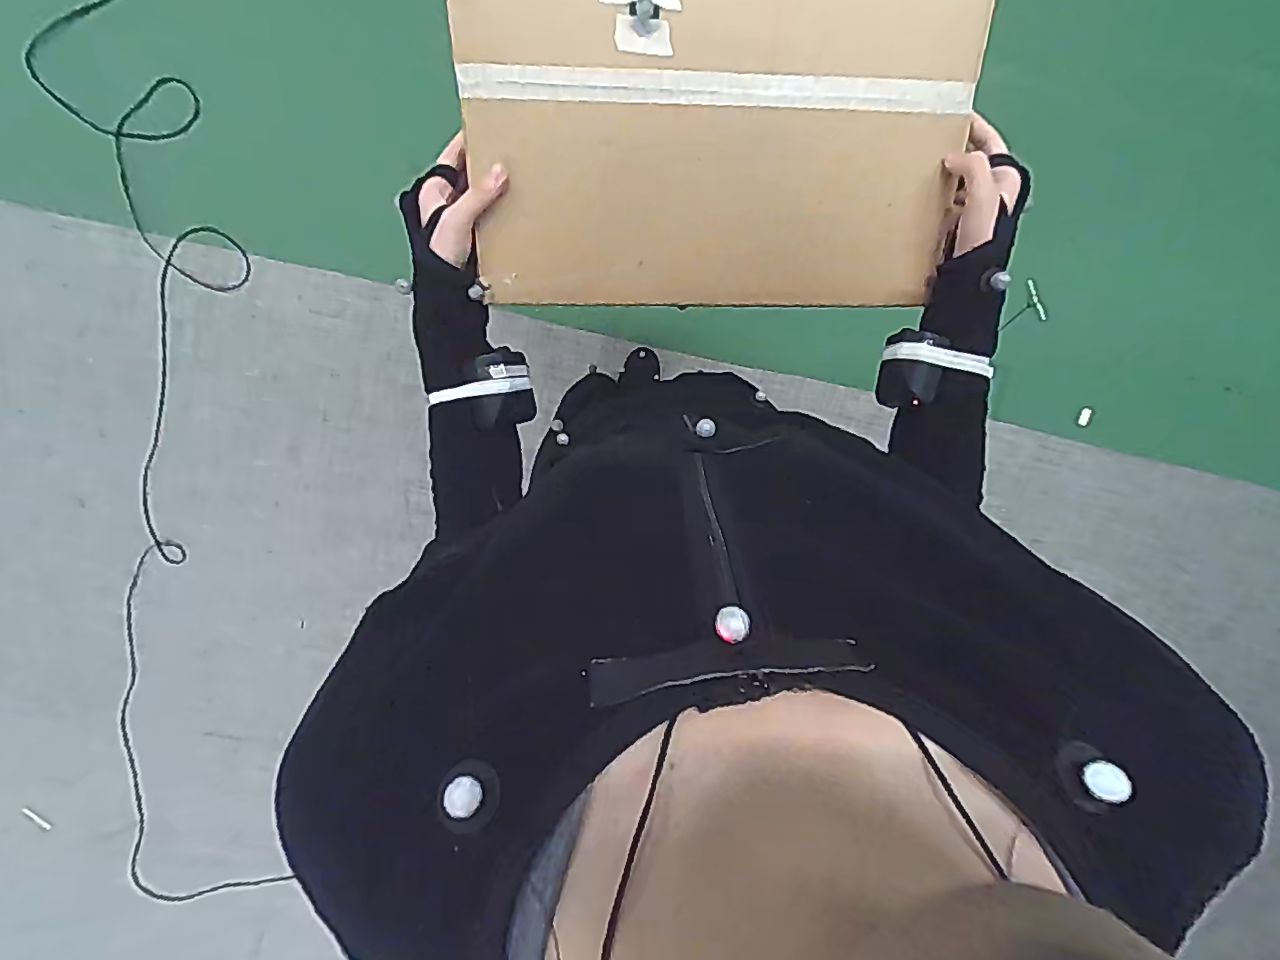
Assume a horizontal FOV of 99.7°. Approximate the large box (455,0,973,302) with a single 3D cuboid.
[{"bbox_3d":[0.051,-0.366,0.570,0.408,0.320,0.320,-1,112,-4],"label":"large box"}]
